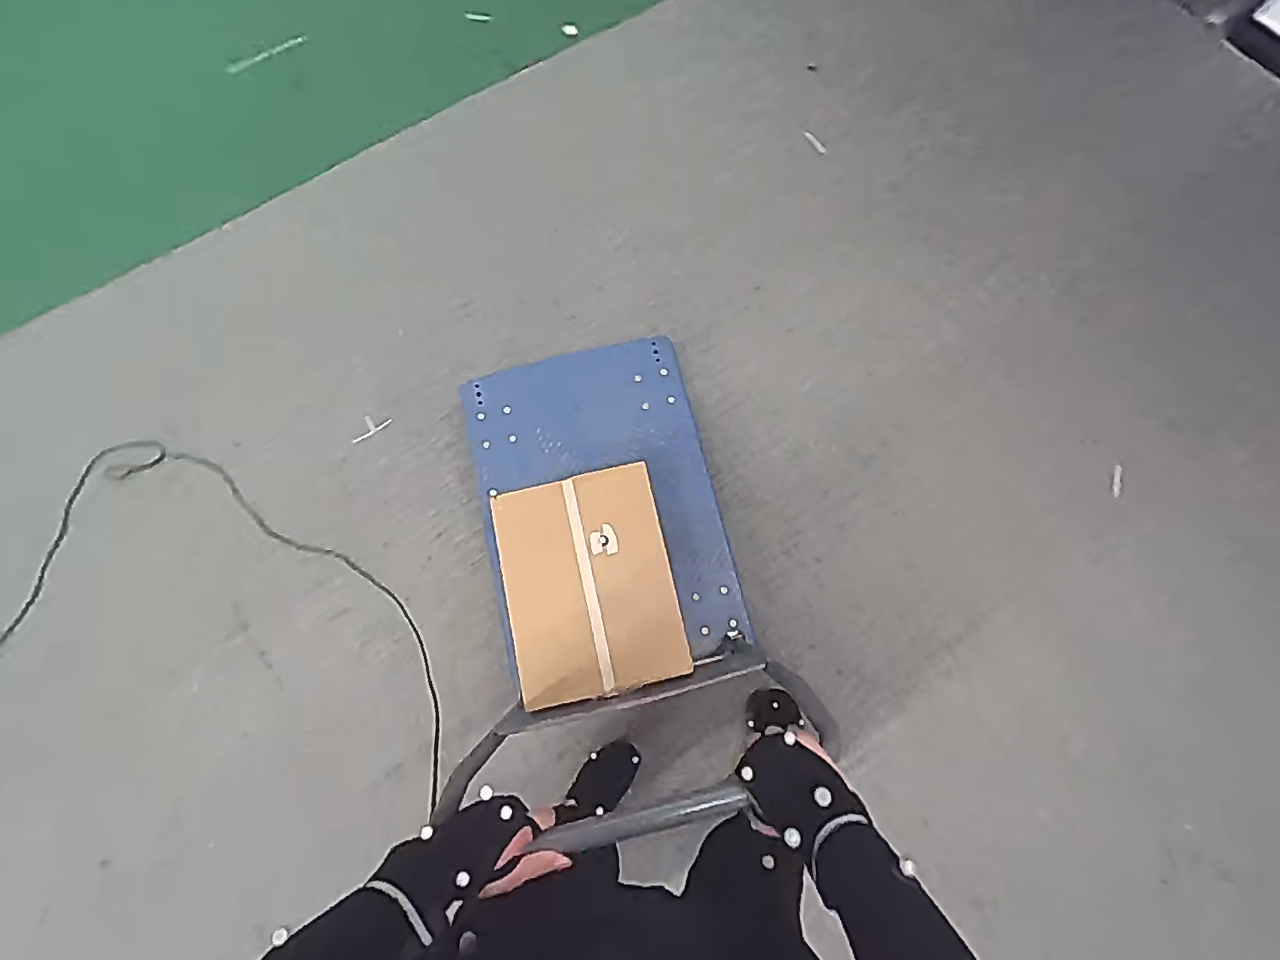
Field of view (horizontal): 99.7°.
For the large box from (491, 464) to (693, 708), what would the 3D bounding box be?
[{"bbox_3d":[-0.092,0.224,1.162,0.320,0.320,0.408,-13,76,-2],"label":"large box"}]
